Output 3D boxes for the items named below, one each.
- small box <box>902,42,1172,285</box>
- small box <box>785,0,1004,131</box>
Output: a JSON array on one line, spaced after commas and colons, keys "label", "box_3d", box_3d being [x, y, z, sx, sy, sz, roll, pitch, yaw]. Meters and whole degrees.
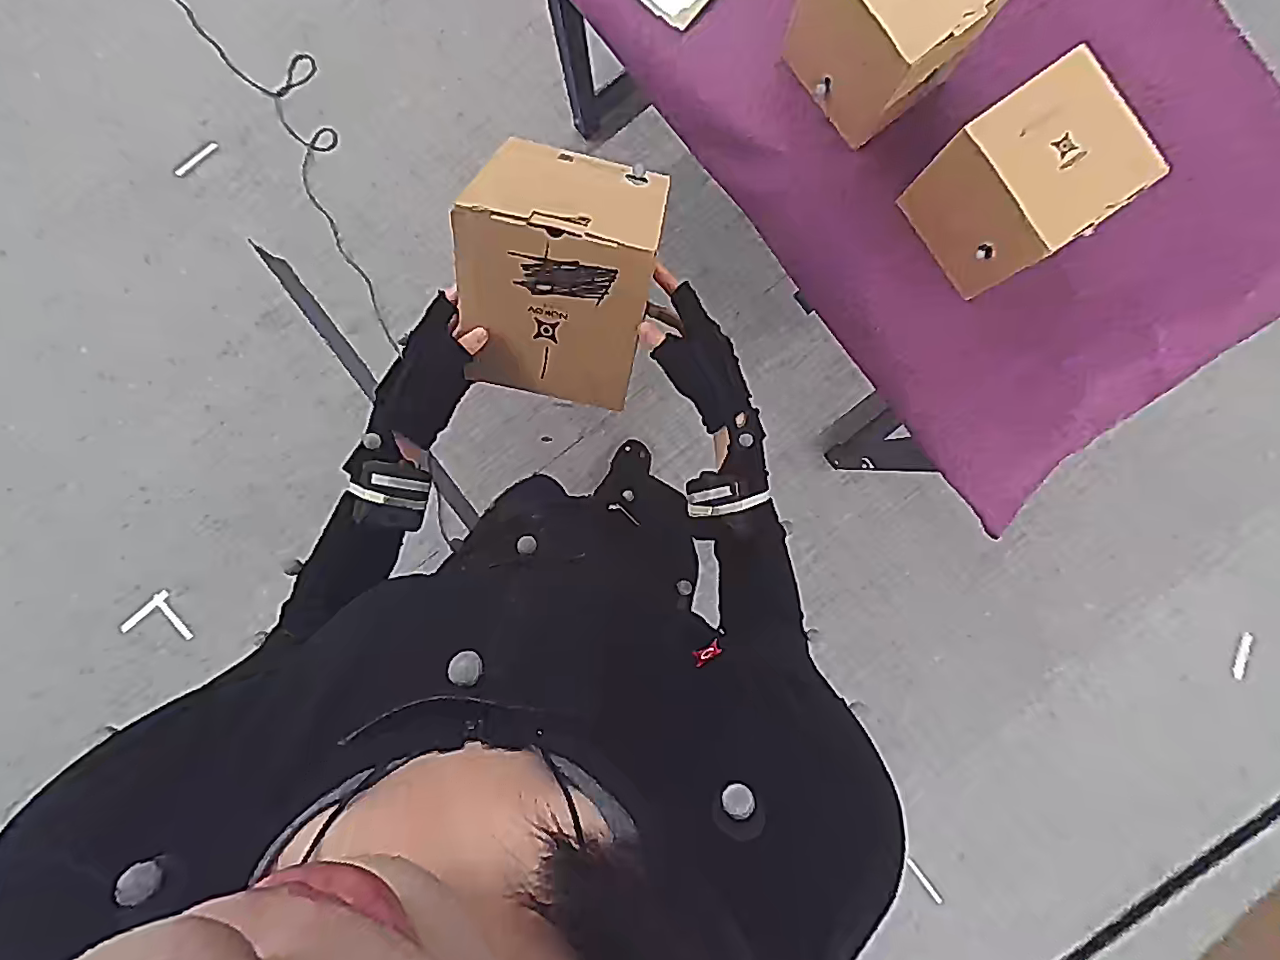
[{"label": "small box", "box_3d": [0.475, -0.371, 0.677, 0.168, 0.176, 0.179, -35, 89, -1]}, {"label": "small box", "box_3d": [0.312, -0.580, 0.673, 0.168, 0.176, 0.179, -38, 92, 1]}]
